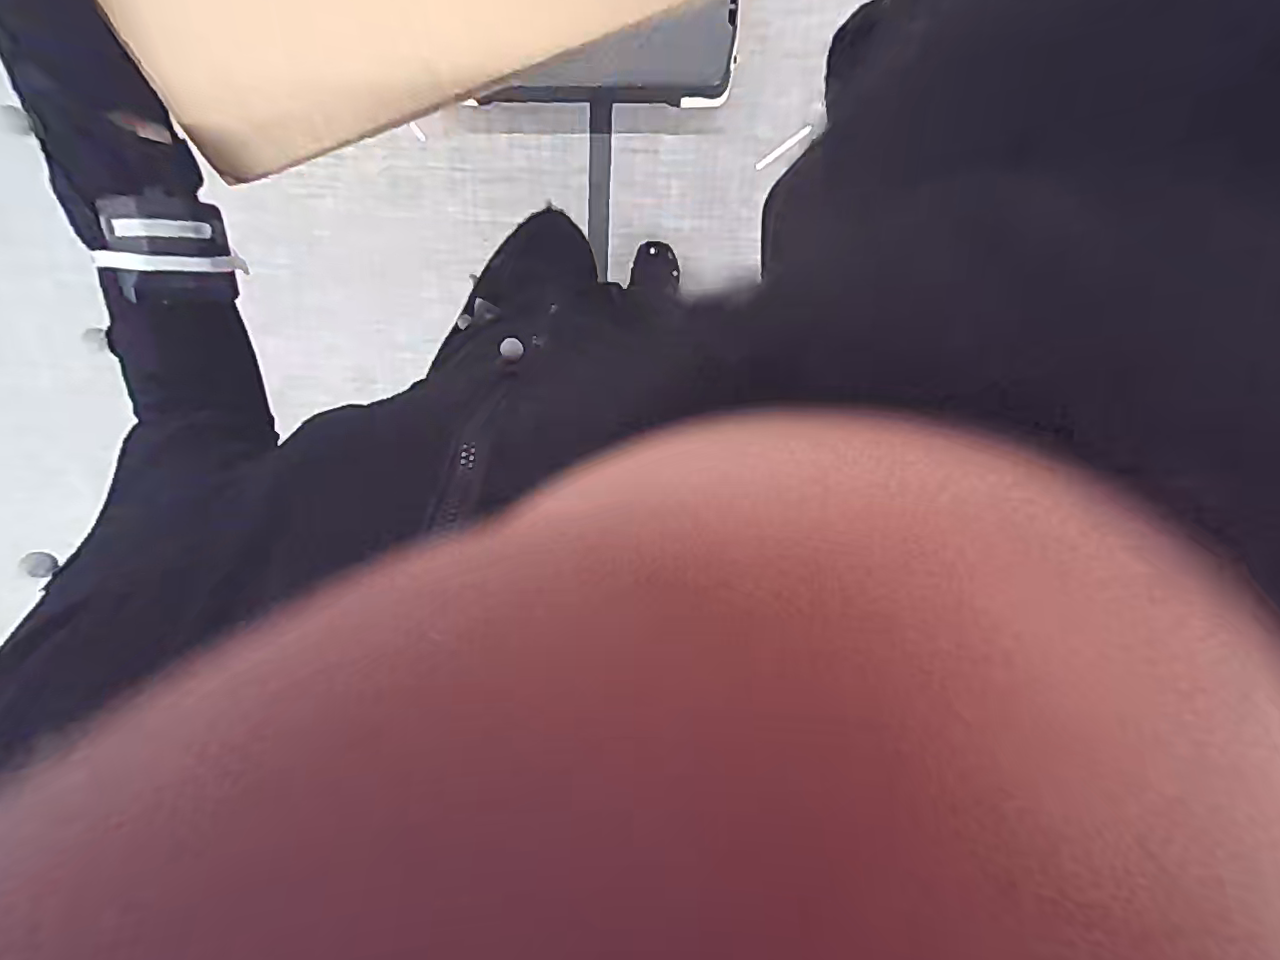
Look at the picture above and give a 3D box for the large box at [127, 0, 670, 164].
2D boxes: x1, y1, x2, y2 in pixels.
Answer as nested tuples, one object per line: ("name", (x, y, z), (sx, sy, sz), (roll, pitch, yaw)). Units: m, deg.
("large box", (-0.136, -0.469, 0.359), (0.408, 0.320, 0.320), (-16, 128, 9))
